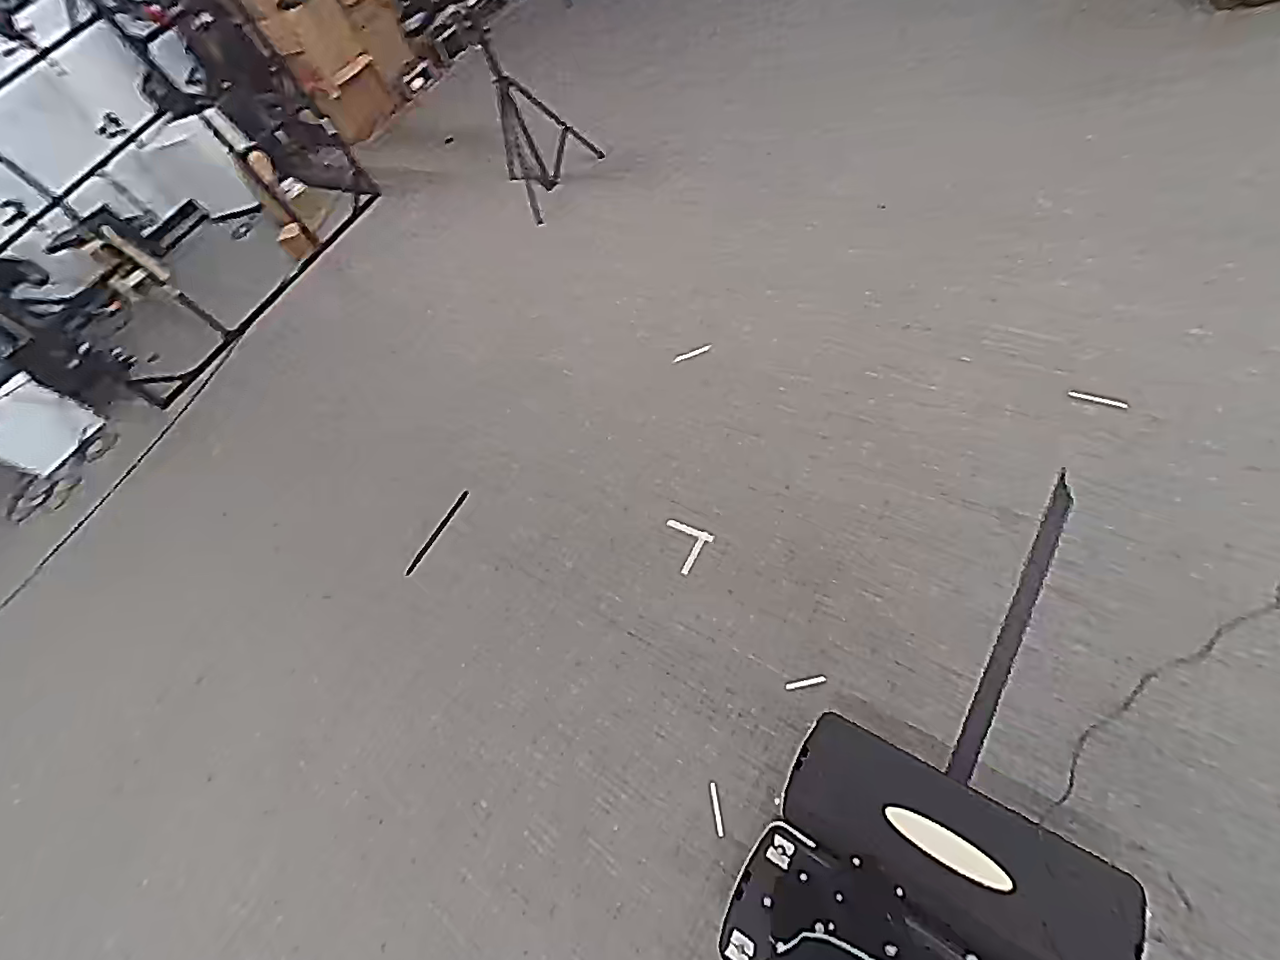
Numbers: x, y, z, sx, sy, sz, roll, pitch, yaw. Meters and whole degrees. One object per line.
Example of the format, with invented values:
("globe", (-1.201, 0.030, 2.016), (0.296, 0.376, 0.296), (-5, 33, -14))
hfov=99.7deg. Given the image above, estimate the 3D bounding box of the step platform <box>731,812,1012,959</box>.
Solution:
("step platform", (0.529, 0.988, 1.069), (0.684, 0.204, 0.286), (21, 69, 30))
